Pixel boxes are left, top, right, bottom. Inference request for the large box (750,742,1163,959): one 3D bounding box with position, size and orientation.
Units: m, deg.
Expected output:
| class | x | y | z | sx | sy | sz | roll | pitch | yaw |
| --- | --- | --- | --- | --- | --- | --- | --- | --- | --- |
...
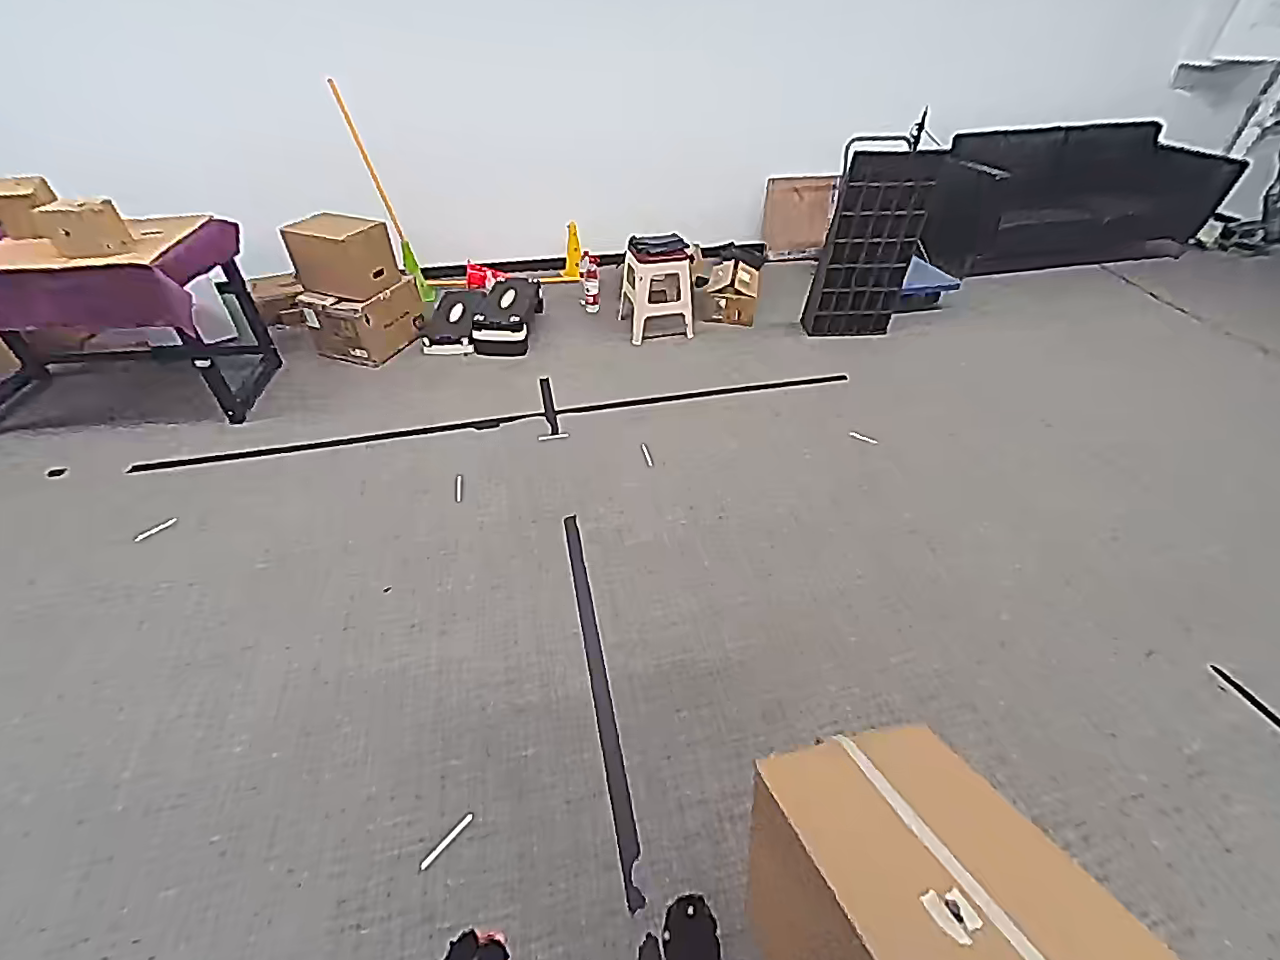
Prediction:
| class | x | y | z | sx | sy | sz | roll | pitch | yaw |
| --- | --- | --- | --- | --- | --- | --- | --- | --- | --- |
| large box | 0.383 | 0.639 | 0.723 | 0.320 | 0.320 | 0.408 | -4 | 16 | -15 |
